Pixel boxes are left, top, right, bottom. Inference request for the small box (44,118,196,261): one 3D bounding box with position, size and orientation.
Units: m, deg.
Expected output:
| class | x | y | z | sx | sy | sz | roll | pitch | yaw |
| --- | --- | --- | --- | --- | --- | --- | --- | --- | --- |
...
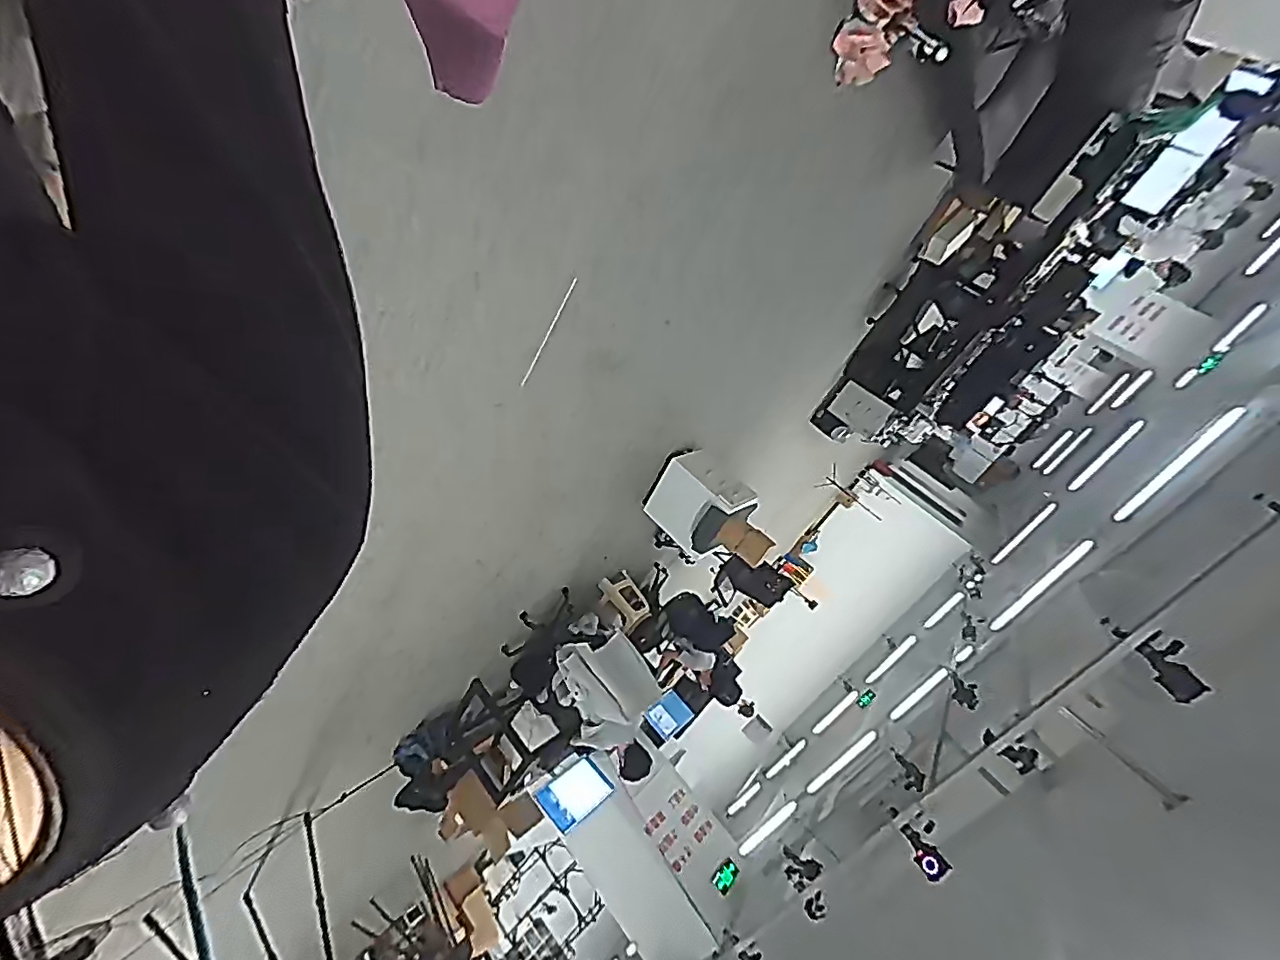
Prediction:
| class | x | y | z | sx | sy | sz | roll | pitch | yaw |
| --- | --- | --- | --- | --- | --- | --- | --- | --- | --- |
| small box | -0.965 | -0.536 | 1.005 | 0.179 | 0.176 | 0.168 | -14 | 140 | -53 |
